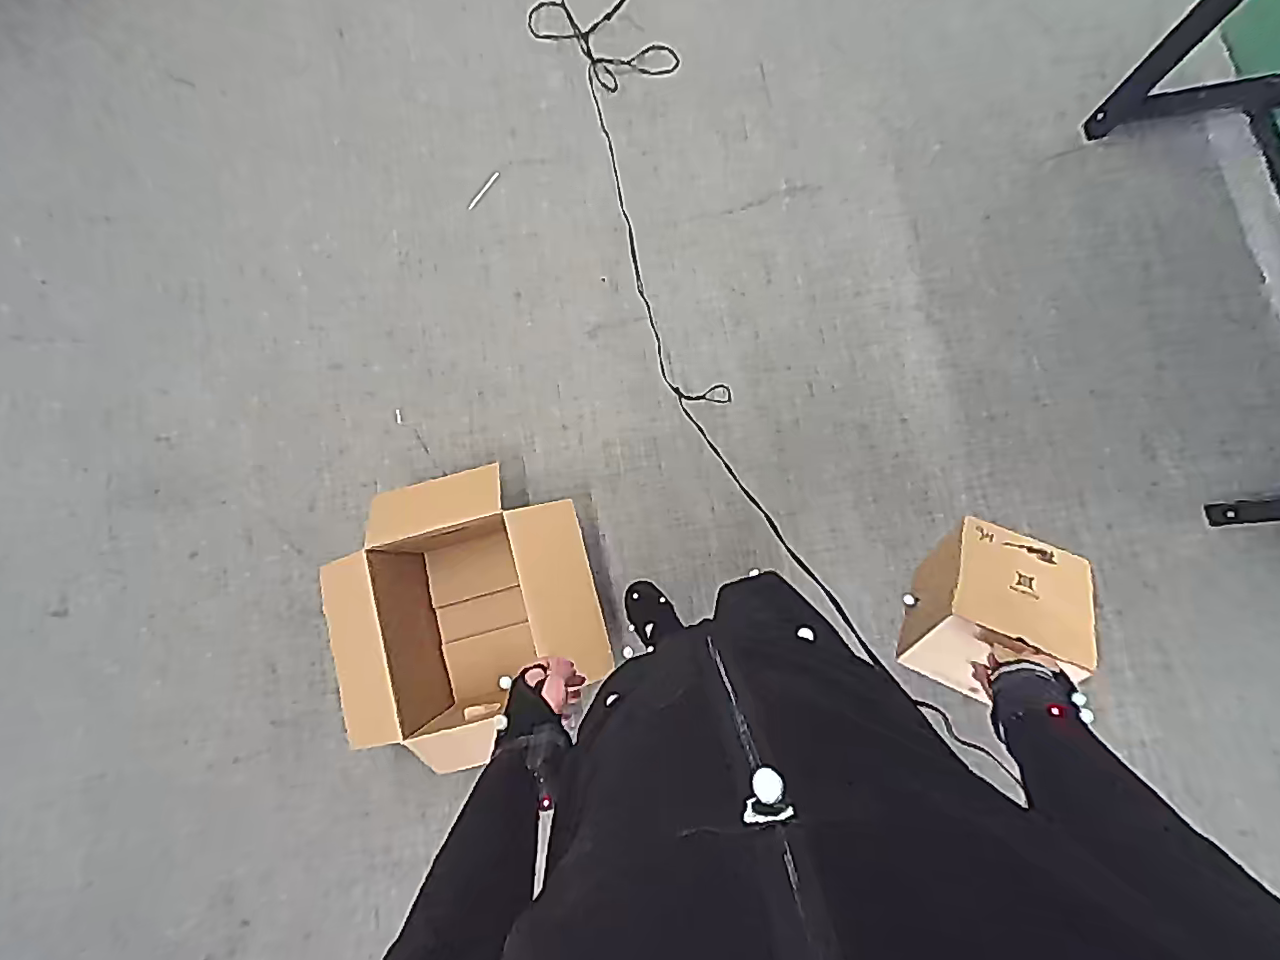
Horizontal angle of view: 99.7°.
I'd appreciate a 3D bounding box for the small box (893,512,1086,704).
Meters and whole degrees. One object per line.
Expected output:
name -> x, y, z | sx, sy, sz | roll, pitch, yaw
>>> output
small box -> 0.481, 0.184, 0.760 | 0.168, 0.176, 0.179 | 24, 54, 14
